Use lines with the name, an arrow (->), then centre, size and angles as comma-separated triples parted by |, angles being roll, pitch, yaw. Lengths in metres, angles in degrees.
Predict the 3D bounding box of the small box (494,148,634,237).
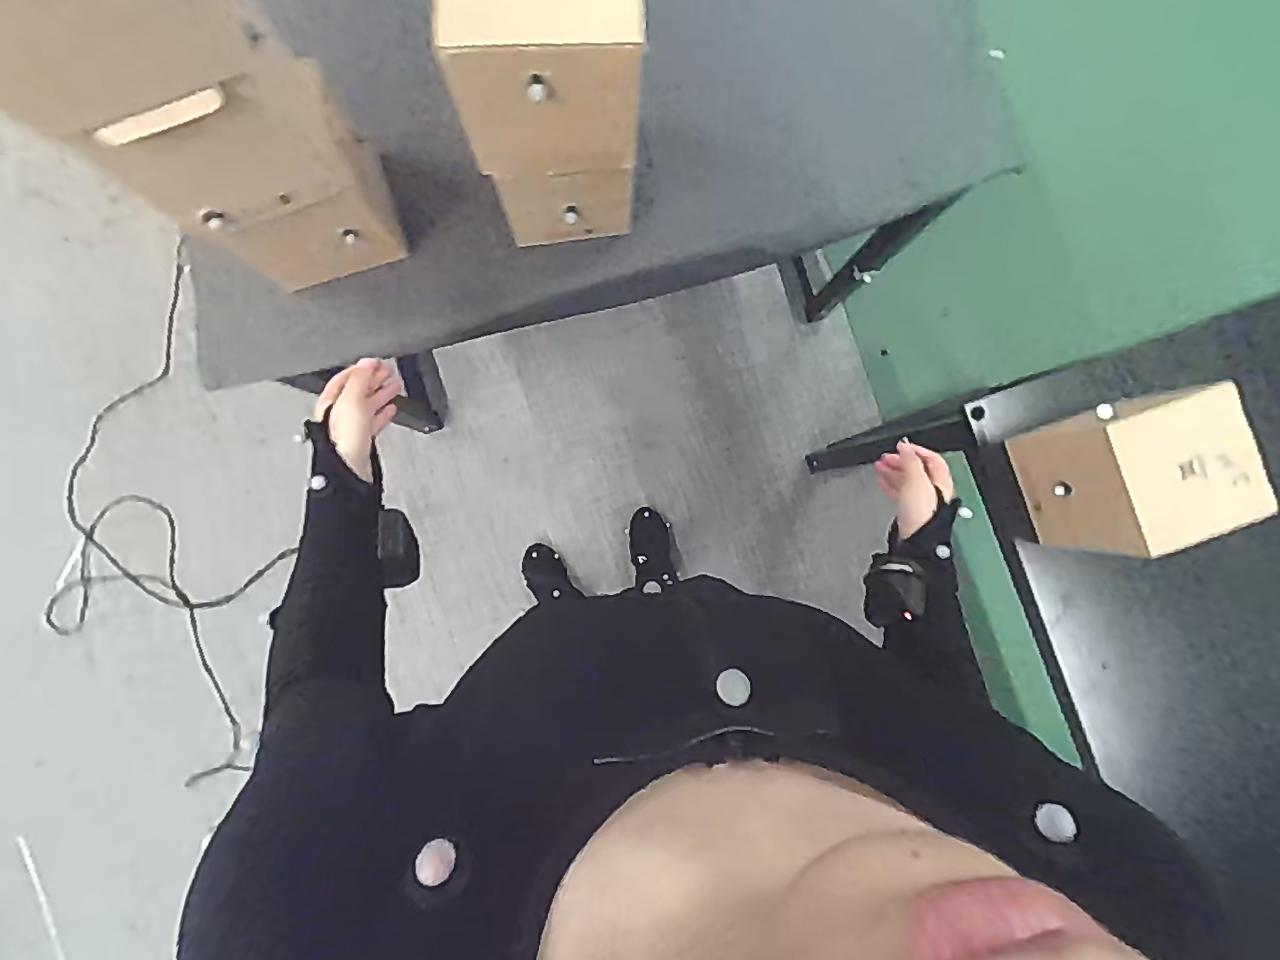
small box -> -0.098, -0.436, 0.702 | 0.168, 0.176, 0.179 | -9, 88, -2

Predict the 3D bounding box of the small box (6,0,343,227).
small box -> -0.428, -0.377, 0.524 | 0.168, 0.176, 0.179 | -23, 86, -4

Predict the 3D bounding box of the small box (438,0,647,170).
small box -> -0.088, -0.438, 0.538 | 0.179, 0.176, 0.168 | -3, 87, -1

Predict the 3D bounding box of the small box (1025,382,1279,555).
small box -> 0.652, -0.011, 0.709 | 0.179, 0.176, 0.168 | -19, 90, -3

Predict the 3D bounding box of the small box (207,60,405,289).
small box -> -0.424, -0.372, 0.689 | 0.179, 0.176, 0.168 | -19, 86, -2
